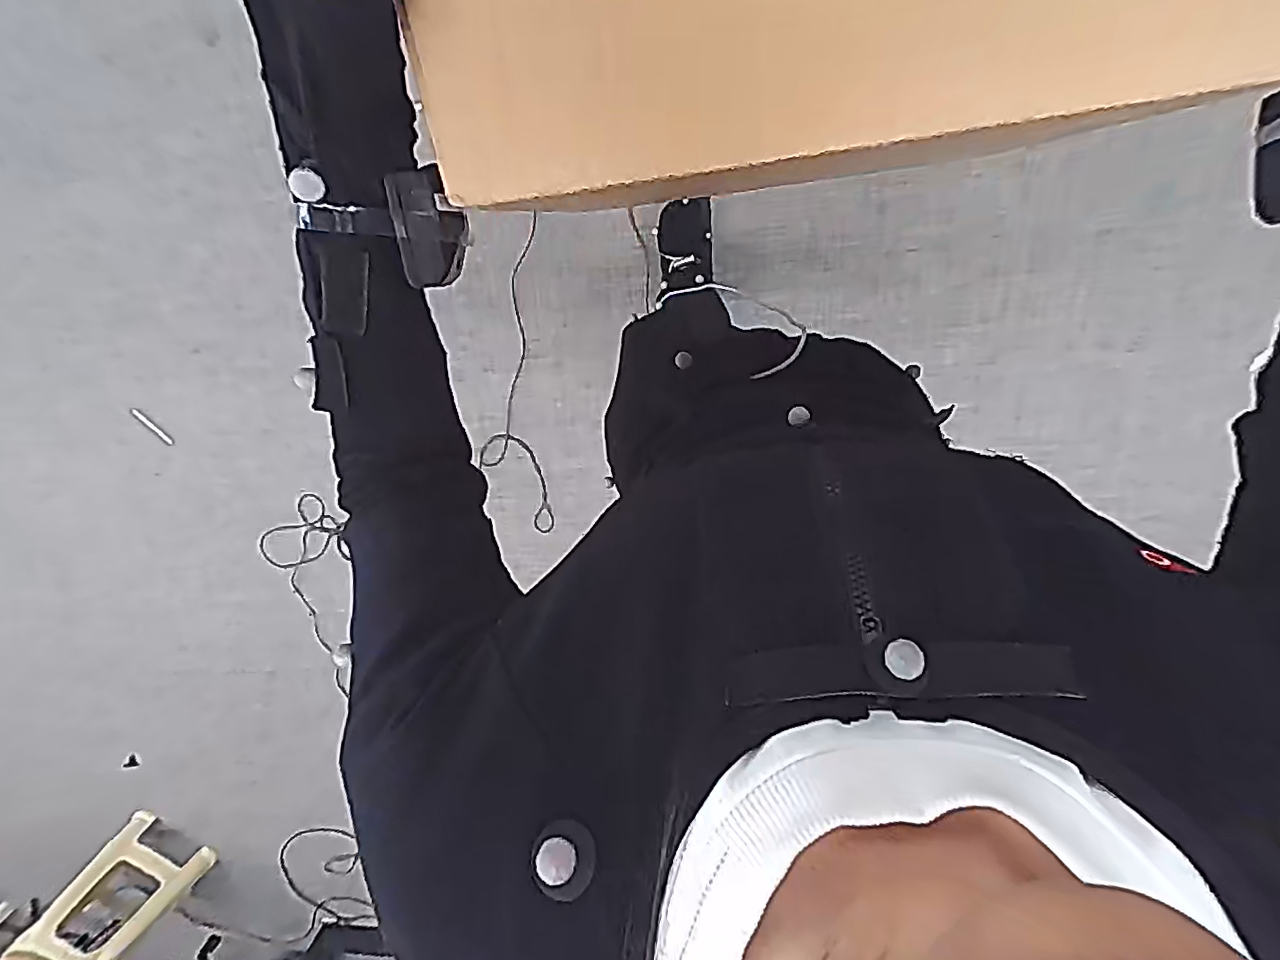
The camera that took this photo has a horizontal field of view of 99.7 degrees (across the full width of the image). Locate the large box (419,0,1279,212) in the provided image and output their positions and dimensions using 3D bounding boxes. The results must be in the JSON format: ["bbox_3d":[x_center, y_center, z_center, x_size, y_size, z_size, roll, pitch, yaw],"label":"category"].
[{"bbox_3d":[0.092,-0.372,0.340,0.408,0.320,0.320,-5,115,9],"label":"large box"}]
